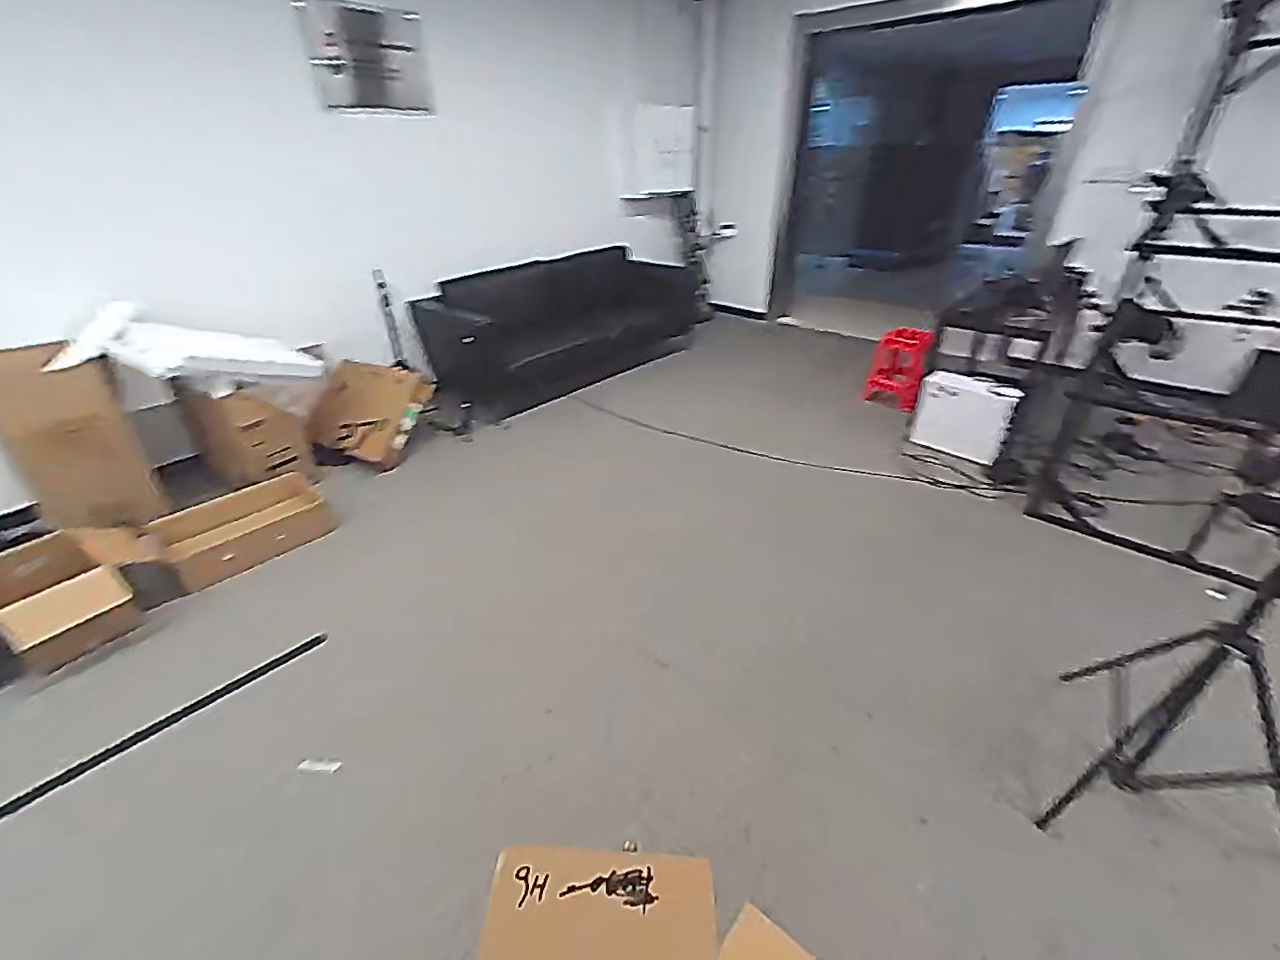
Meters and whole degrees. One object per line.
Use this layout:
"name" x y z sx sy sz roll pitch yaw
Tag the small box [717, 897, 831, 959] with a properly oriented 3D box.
"small box" 0.170 0.712 0.700 0.168 0.176 0.179 21 40 36
